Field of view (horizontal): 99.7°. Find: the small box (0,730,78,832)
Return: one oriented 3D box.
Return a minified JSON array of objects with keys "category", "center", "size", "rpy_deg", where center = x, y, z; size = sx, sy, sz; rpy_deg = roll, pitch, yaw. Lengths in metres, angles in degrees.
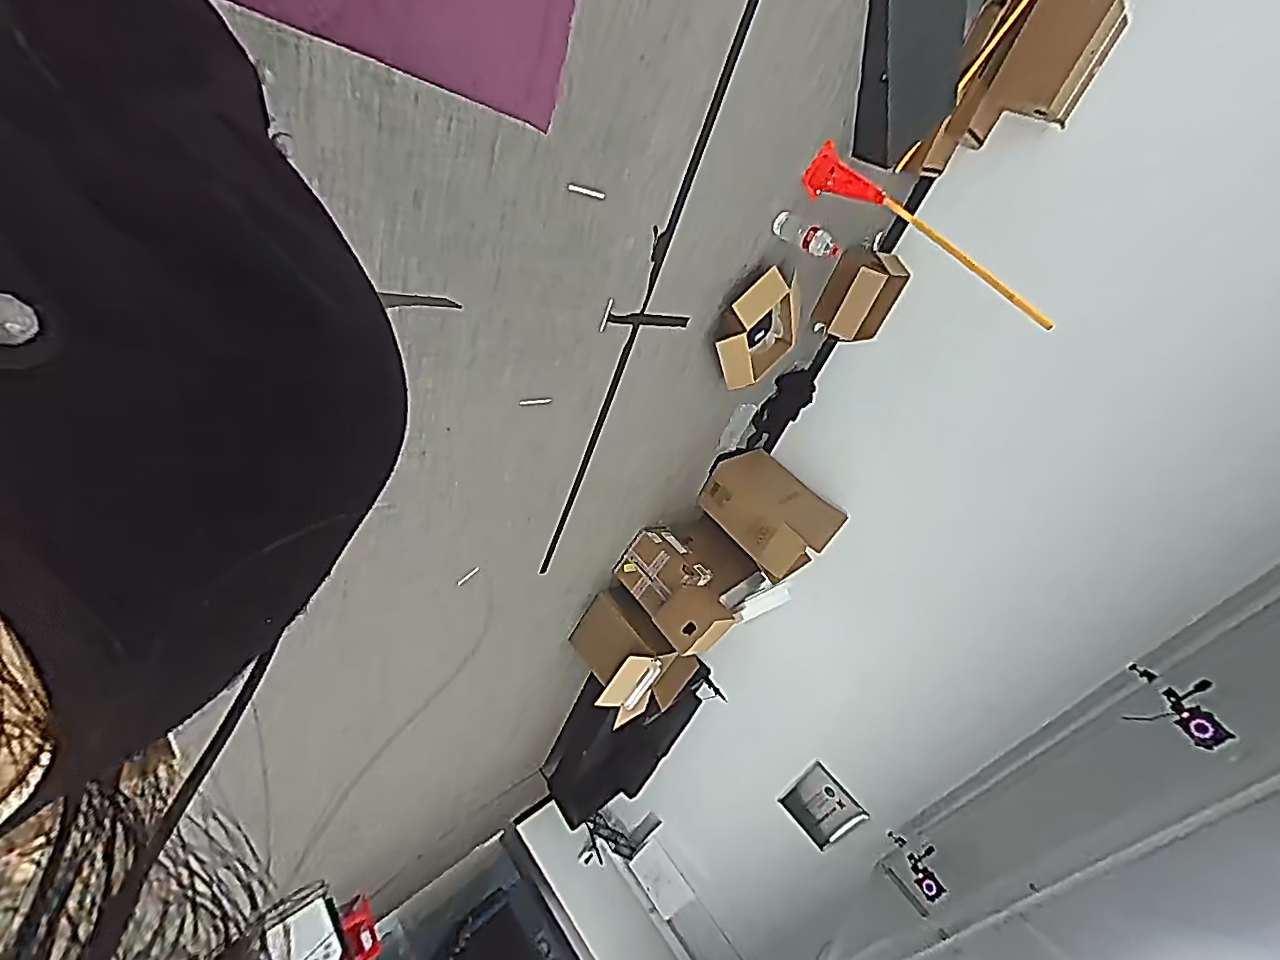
[{"category":"small box","center":[-1.790,0.868,1.573],"size":[0.168,0.176,0.179],"rpy_deg":[-21,144,-42]}]
